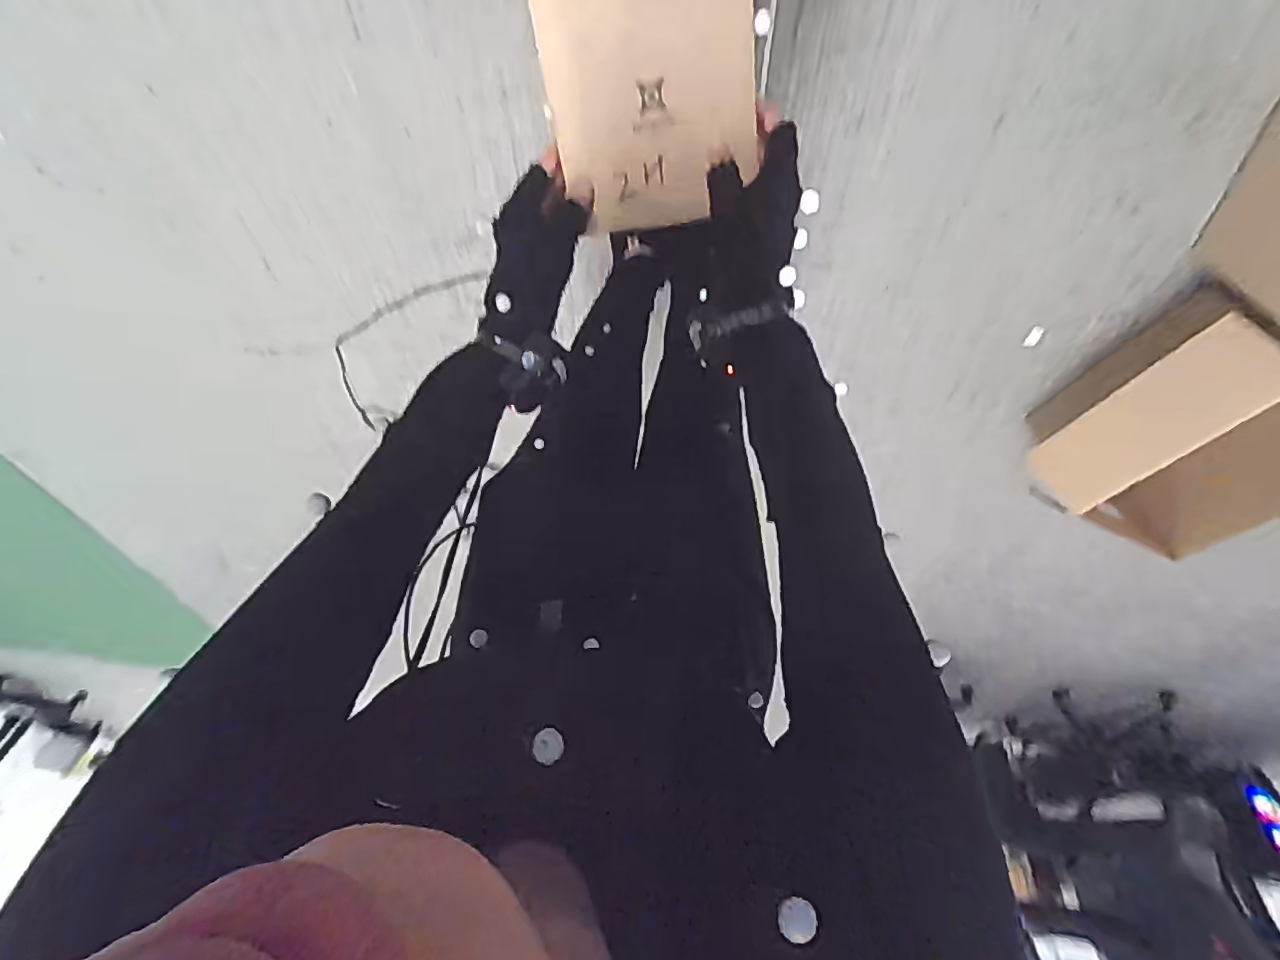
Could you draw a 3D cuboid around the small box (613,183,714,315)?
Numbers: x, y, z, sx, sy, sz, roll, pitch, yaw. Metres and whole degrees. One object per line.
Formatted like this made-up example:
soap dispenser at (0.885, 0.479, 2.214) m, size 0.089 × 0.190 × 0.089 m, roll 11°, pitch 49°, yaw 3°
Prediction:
small box at (0.037, -0.452, 1.064) m, size 0.168 × 0.176 × 0.179 m, roll 1°, pitch 140°, yaw -8°
